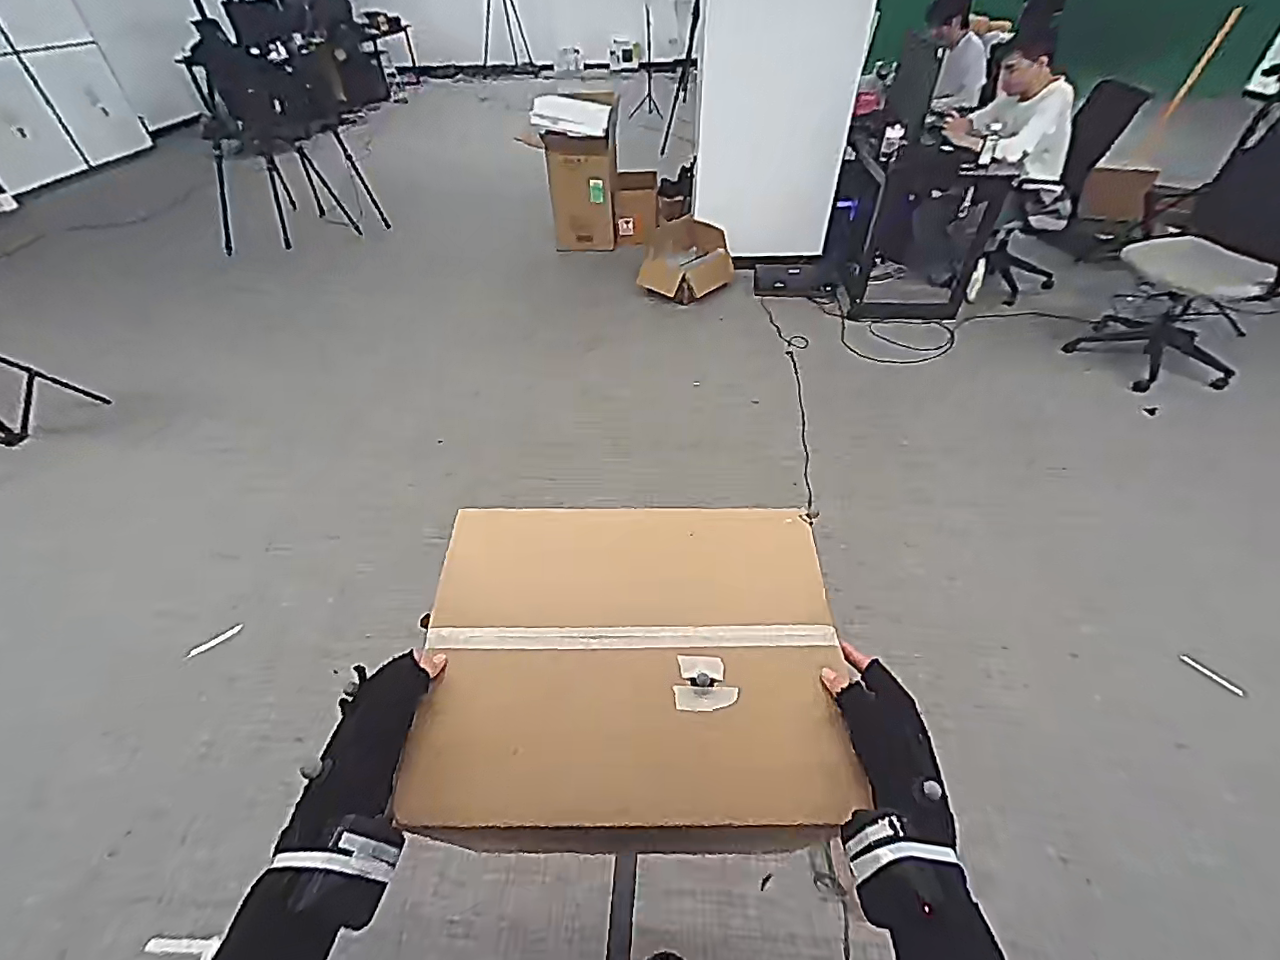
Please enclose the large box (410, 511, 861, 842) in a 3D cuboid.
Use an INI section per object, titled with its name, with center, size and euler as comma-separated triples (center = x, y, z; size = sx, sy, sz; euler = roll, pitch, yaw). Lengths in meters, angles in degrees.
[large box]
center = -0.008, 0.252, 0.675
size = 0.408, 0.320, 0.320
euler = 0, 53, -1
